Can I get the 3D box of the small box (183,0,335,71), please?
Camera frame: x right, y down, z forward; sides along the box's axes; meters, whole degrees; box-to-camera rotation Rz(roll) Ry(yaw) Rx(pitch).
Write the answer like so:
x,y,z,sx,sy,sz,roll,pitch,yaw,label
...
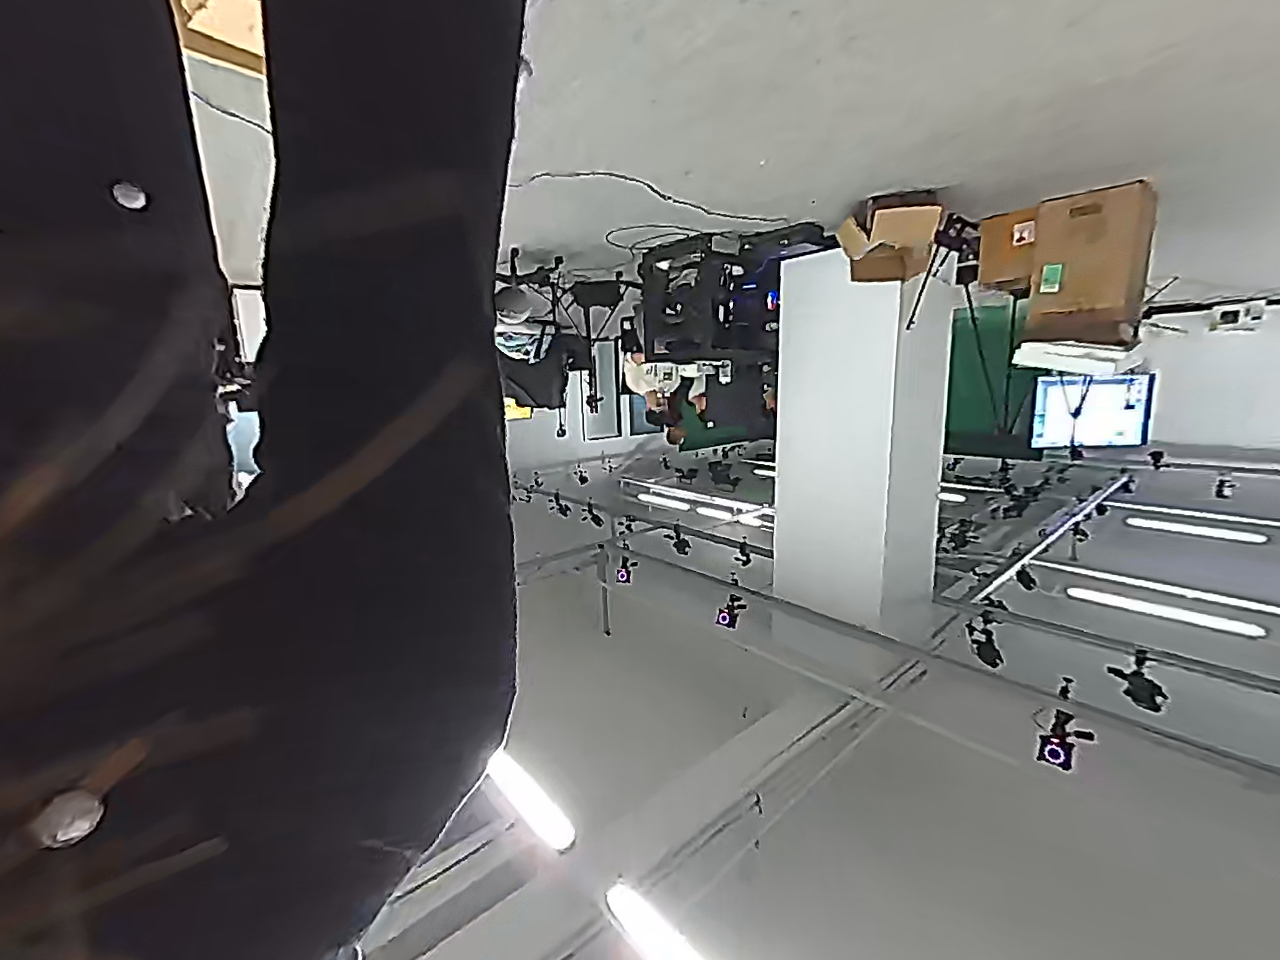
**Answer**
x,y,z,sx,sy,sz,roll,pitch,yaw,label
-0.658,-0.855,0.920,0.168,0.176,0.179,5,-167,34,small box
